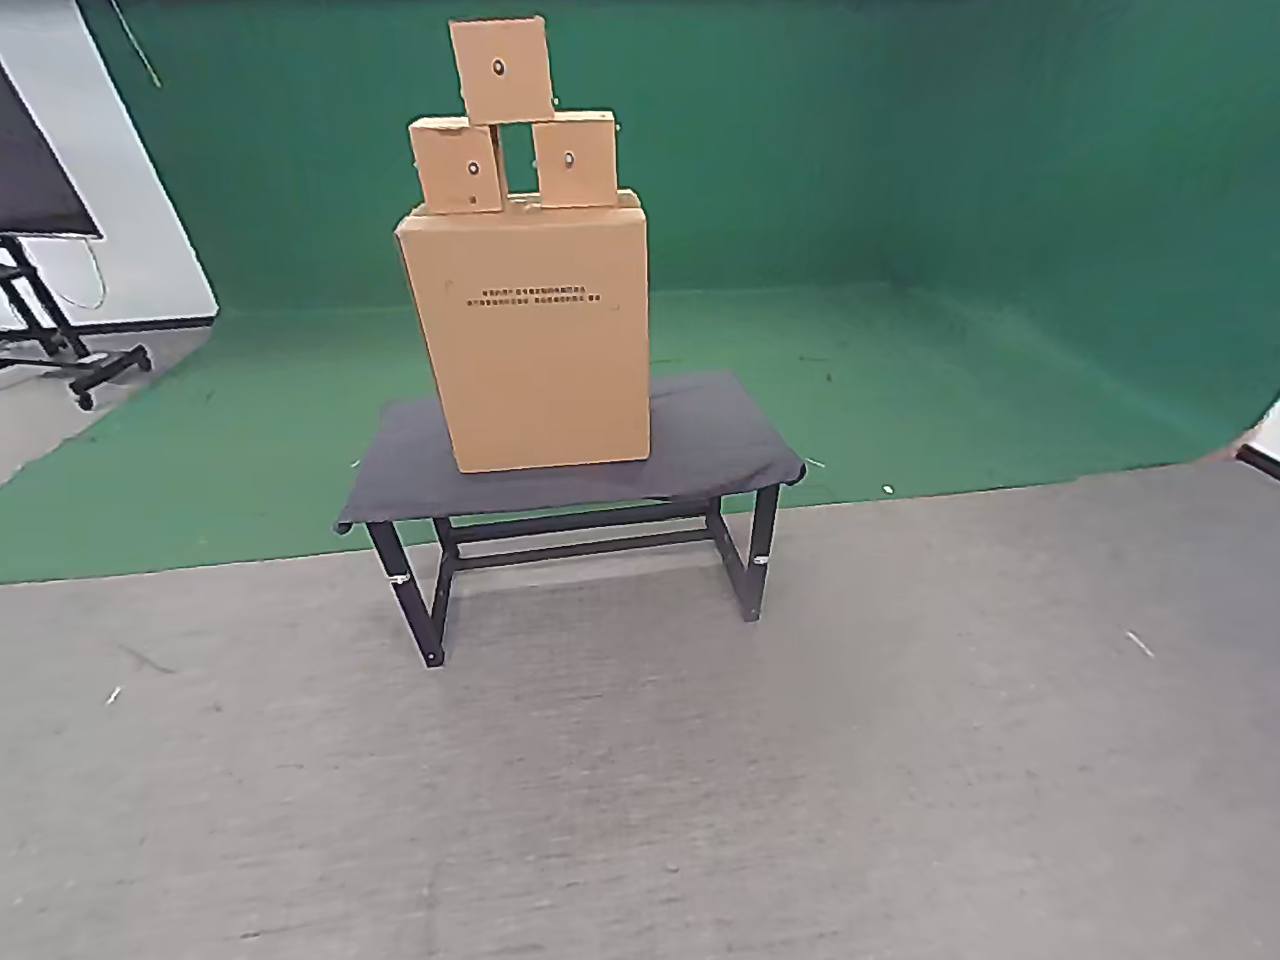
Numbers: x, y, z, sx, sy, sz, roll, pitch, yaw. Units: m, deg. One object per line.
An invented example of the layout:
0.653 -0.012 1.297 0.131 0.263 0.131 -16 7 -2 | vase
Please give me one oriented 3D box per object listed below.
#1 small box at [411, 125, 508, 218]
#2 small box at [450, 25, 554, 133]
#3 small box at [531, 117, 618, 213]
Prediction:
-0.400 -0.702 1.231 0.168 0.176 0.179 -4 37 -5 | small box
-0.279 -0.842 1.136 0.179 0.176 0.168 -7 39 -3 | small box
-0.145 -0.726 1.248 0.179 0.176 0.168 -5 40 -2 | small box
